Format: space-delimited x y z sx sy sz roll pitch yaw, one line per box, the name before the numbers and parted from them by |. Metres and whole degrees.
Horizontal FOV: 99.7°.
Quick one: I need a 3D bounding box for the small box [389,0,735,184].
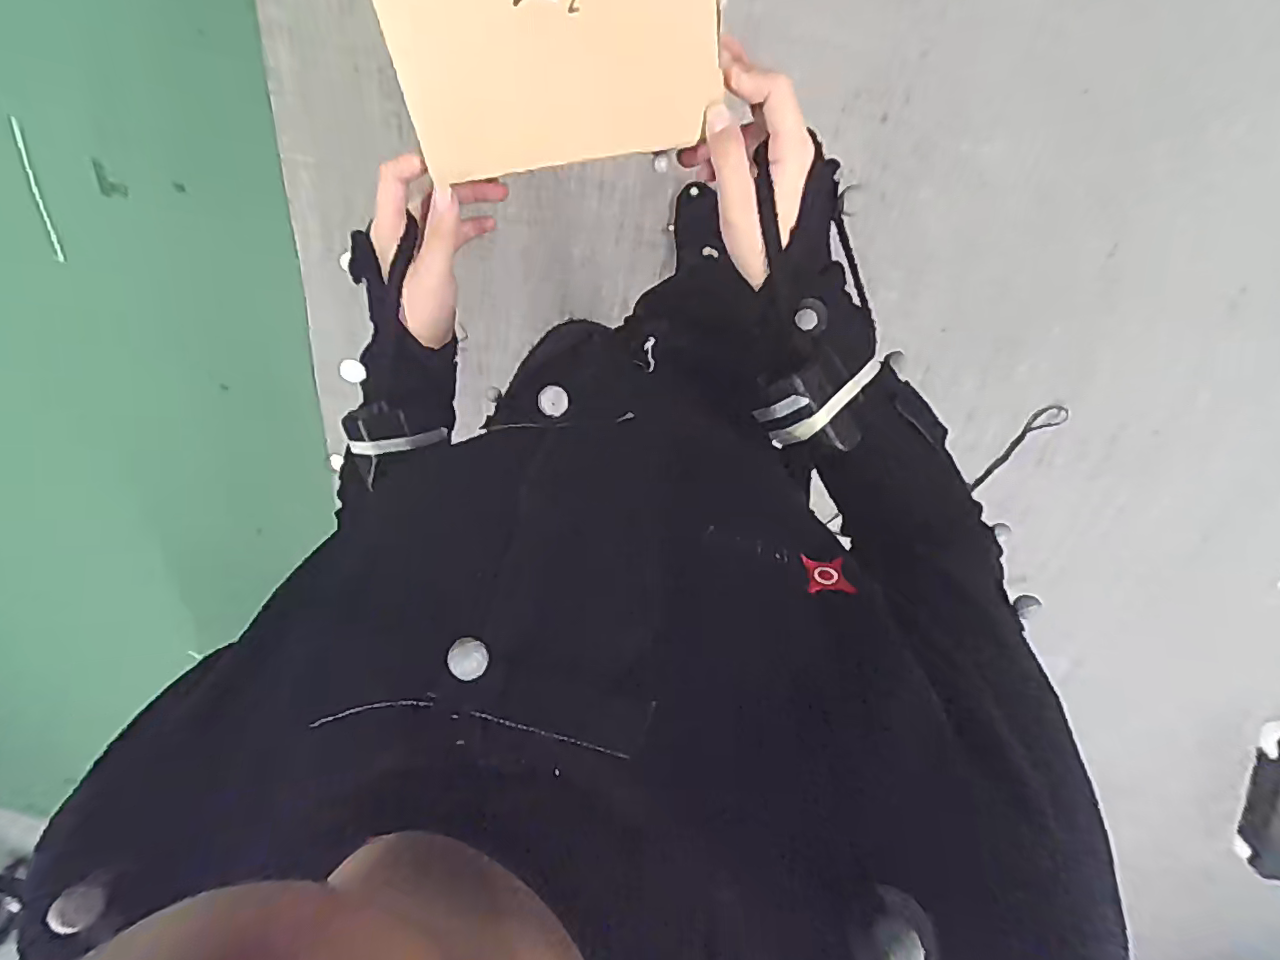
small box | -0.038 -0.290 0.334 0.179 0.176 0.168 -5 123 5
